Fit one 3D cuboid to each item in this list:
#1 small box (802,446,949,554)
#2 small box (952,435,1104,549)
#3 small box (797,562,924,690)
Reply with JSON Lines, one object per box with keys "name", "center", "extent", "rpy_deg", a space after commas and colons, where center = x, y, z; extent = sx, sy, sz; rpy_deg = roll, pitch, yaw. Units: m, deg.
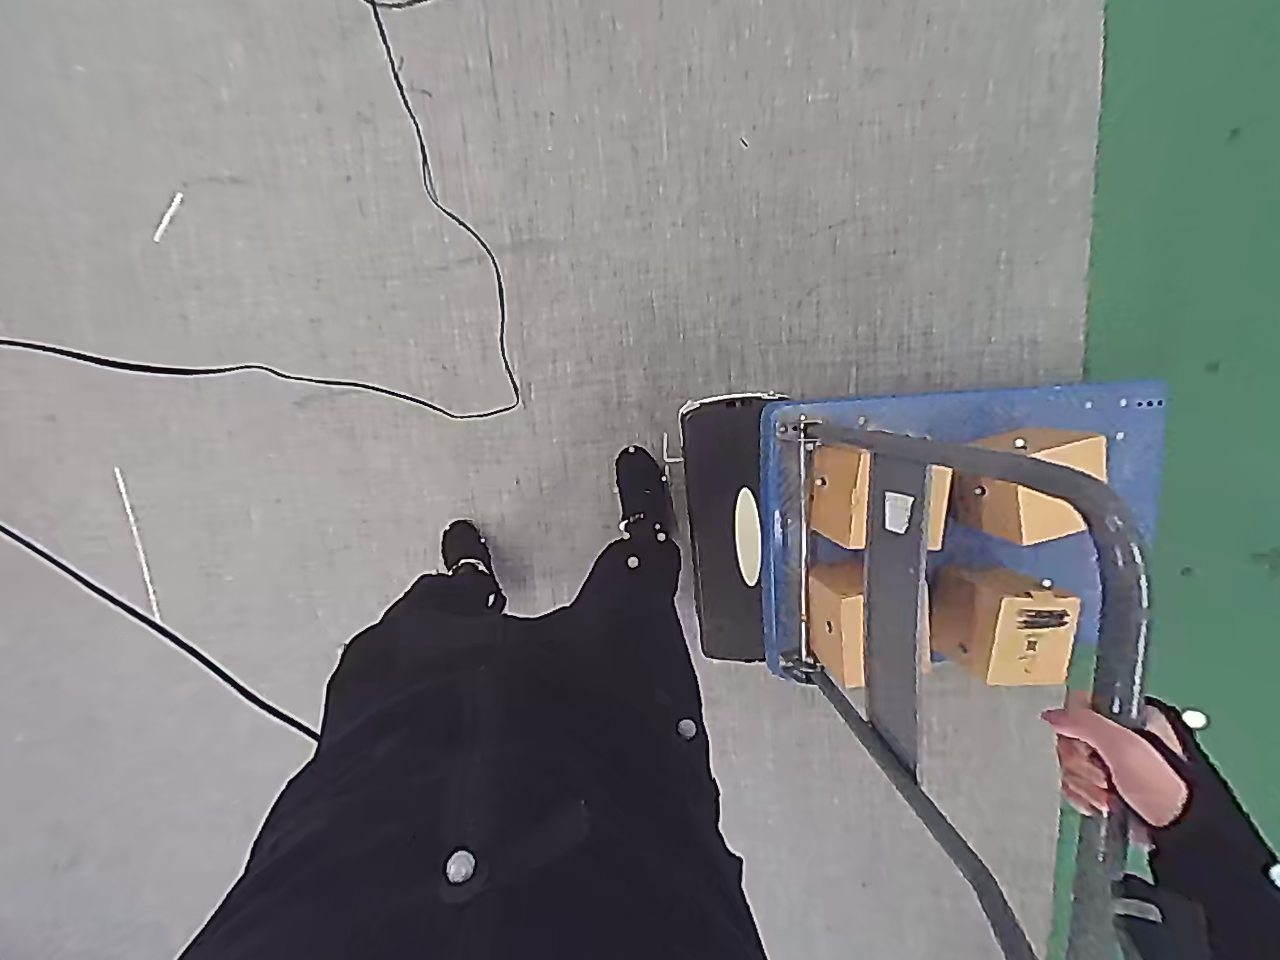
{"name": "small box", "center": [0.420, 0.031, 0.989], "extent": [0.179, 0.176, 0.168], "rpy_deg": [2, 99, -8]}
{"name": "small box", "center": [0.722, 0.014, 1.026], "extent": [0.179, 0.176, 0.168], "rpy_deg": [-13, 101, -5]}
{"name": "small box", "center": [0.409, 0.264, 1.024], "extent": [0.168, 0.176, 0.179], "rpy_deg": [-7, 101, -6]}
